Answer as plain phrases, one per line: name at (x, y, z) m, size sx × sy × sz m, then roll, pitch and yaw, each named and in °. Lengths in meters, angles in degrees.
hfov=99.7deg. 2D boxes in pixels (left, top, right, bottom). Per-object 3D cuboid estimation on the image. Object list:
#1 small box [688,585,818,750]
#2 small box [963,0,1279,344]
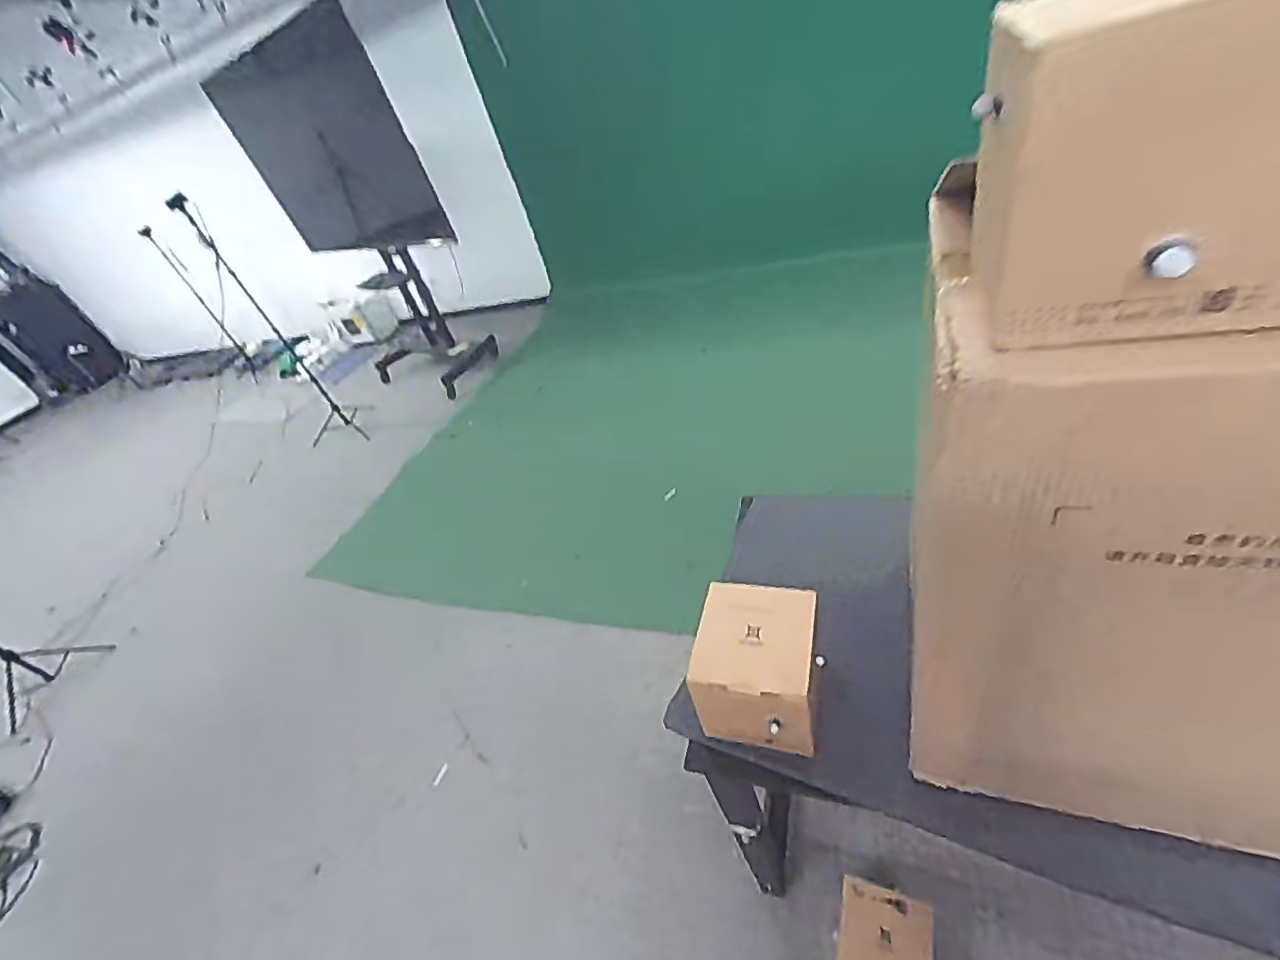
small box at (0.184, 0.288, 0.838) m, size 0.168 × 0.176 × 0.179 m, roll 1°, pitch 39°, yaw 21°
small box at (0.311, -0.206, 0.344) m, size 0.168 × 0.176 × 0.179 m, roll 0°, pitch 42°, yaw 26°
